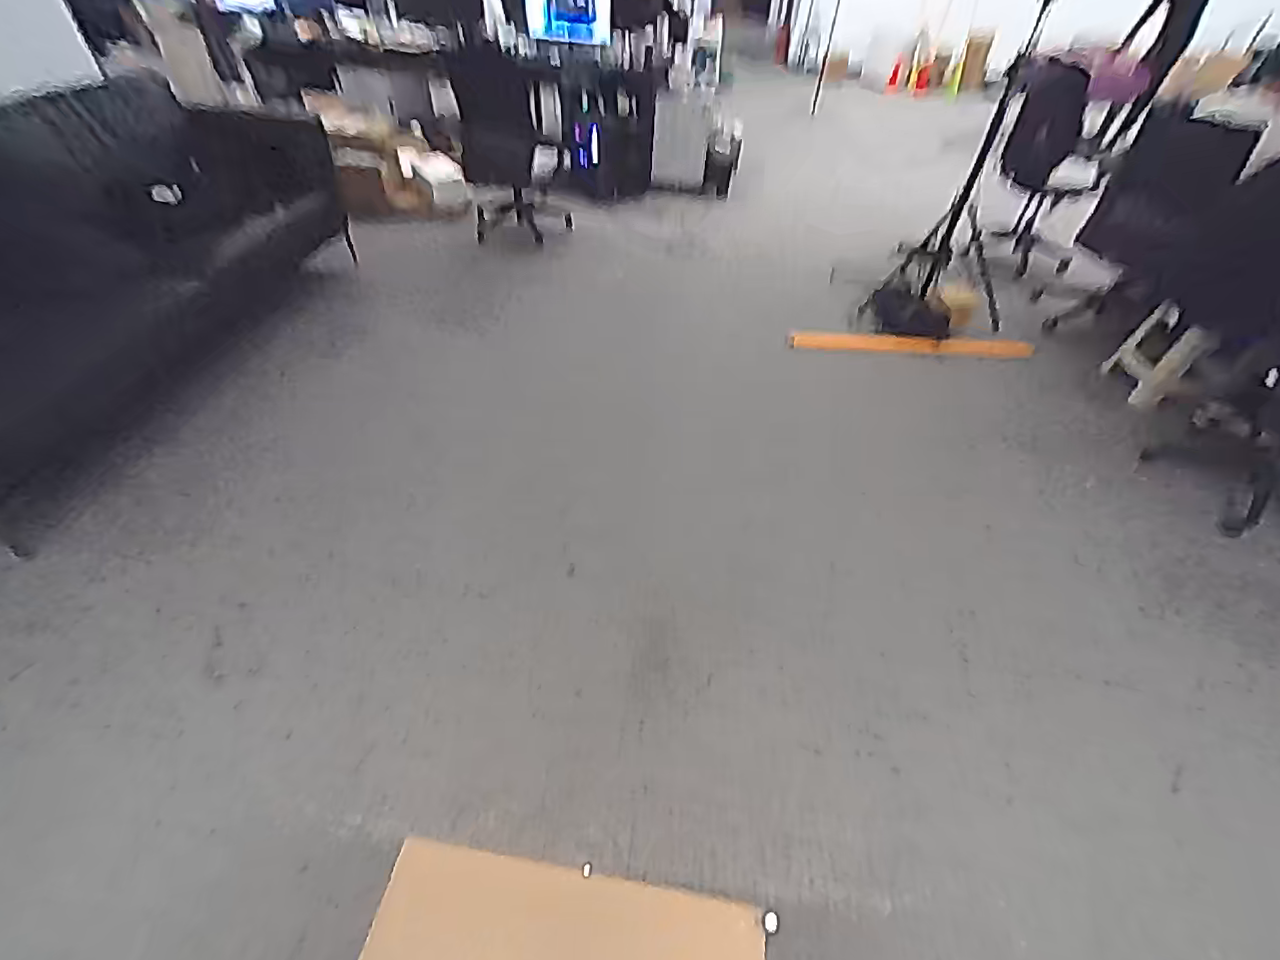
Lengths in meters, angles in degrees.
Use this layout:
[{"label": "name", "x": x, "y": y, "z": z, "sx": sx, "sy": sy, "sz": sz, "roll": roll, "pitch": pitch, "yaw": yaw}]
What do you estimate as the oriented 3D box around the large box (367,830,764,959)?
[{"label": "large box", "x": -0.094, "y": 0.634, "z": 0.612, "sx": 0.408, "sy": 0.320, "sz": 0.320, "roll": 9, "pitch": 49, "yaw": 3}]
